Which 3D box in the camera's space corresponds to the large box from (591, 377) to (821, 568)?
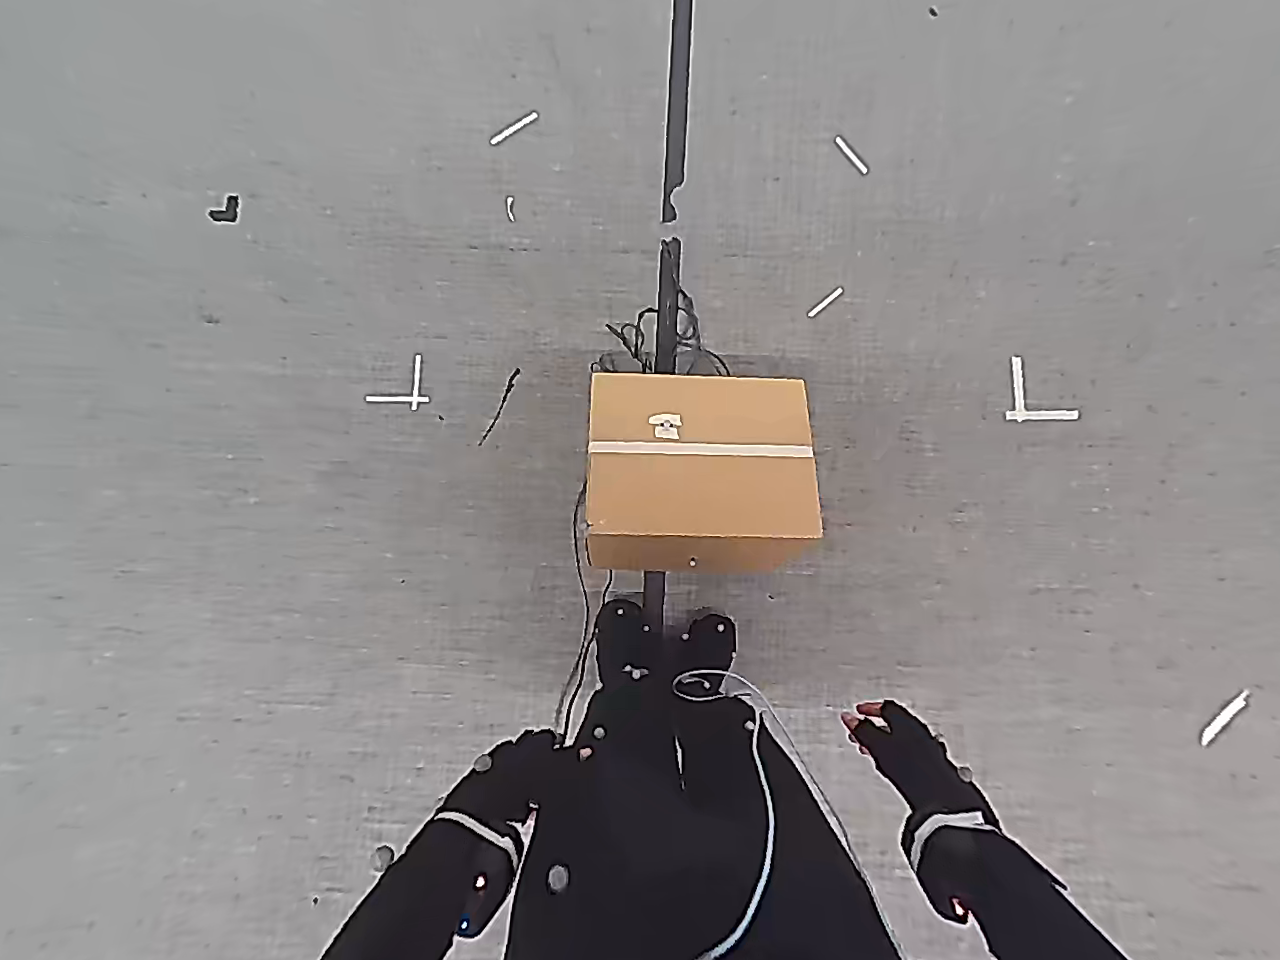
[{"bbox_3d":[0.113,0.001,1.116,0.408,0.320,0.320,1,68,-1],"label":"large box"}]
